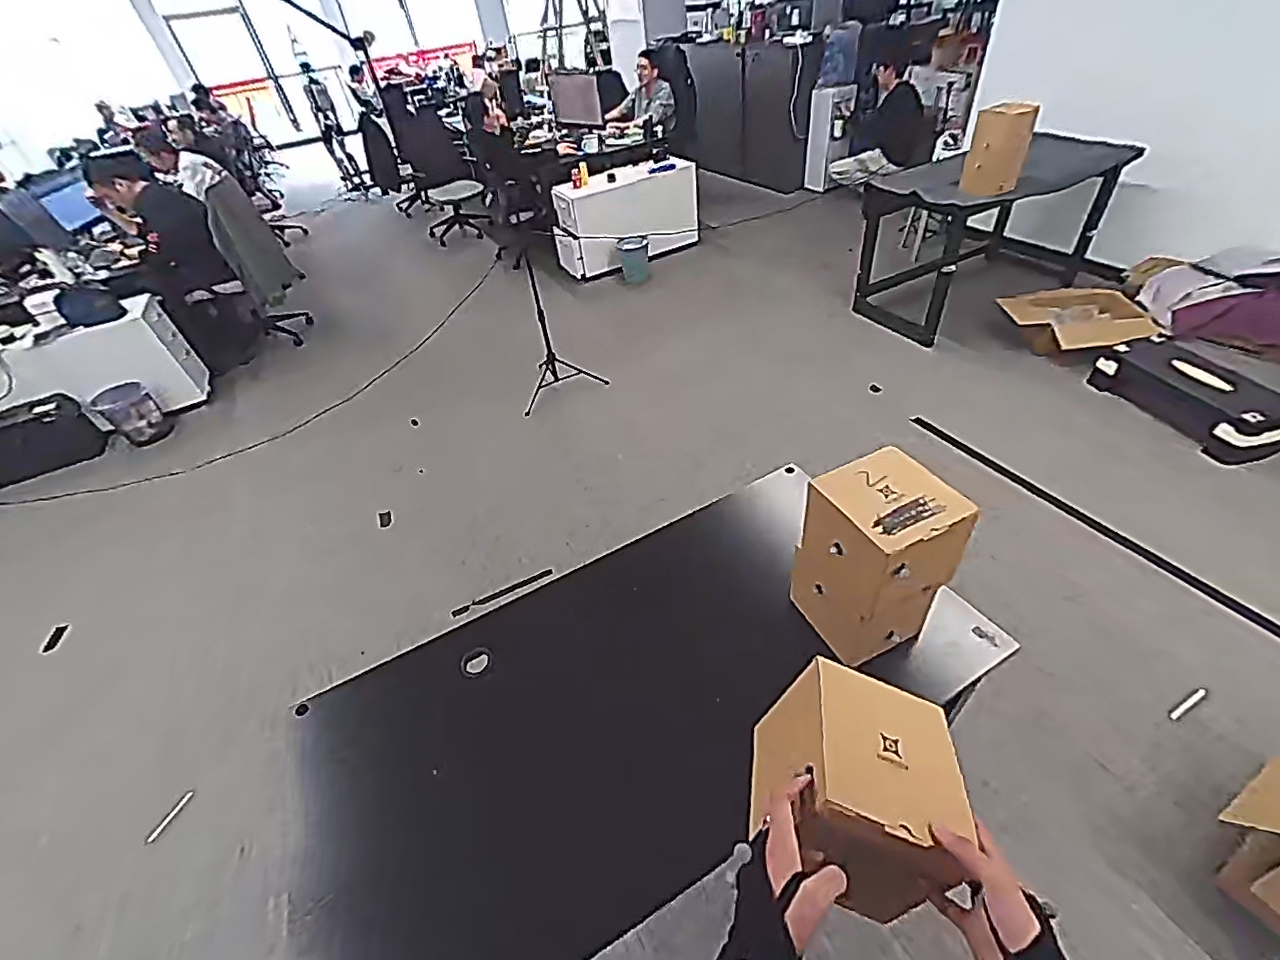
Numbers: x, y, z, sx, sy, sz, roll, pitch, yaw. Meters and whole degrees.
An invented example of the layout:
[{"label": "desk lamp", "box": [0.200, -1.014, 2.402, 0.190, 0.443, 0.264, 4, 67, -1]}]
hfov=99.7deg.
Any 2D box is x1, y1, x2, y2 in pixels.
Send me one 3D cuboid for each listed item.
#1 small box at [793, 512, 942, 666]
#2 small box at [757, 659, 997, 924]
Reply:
[{"label": "small box", "box": [0.391, 0.194, 0.966, 0.168, 0.176, 0.179, -22, 44, -12]}, {"label": "small box", "box": [0.243, 0.344, 0.605, 0.168, 0.176, 0.179, 24, 35, 0]}]
